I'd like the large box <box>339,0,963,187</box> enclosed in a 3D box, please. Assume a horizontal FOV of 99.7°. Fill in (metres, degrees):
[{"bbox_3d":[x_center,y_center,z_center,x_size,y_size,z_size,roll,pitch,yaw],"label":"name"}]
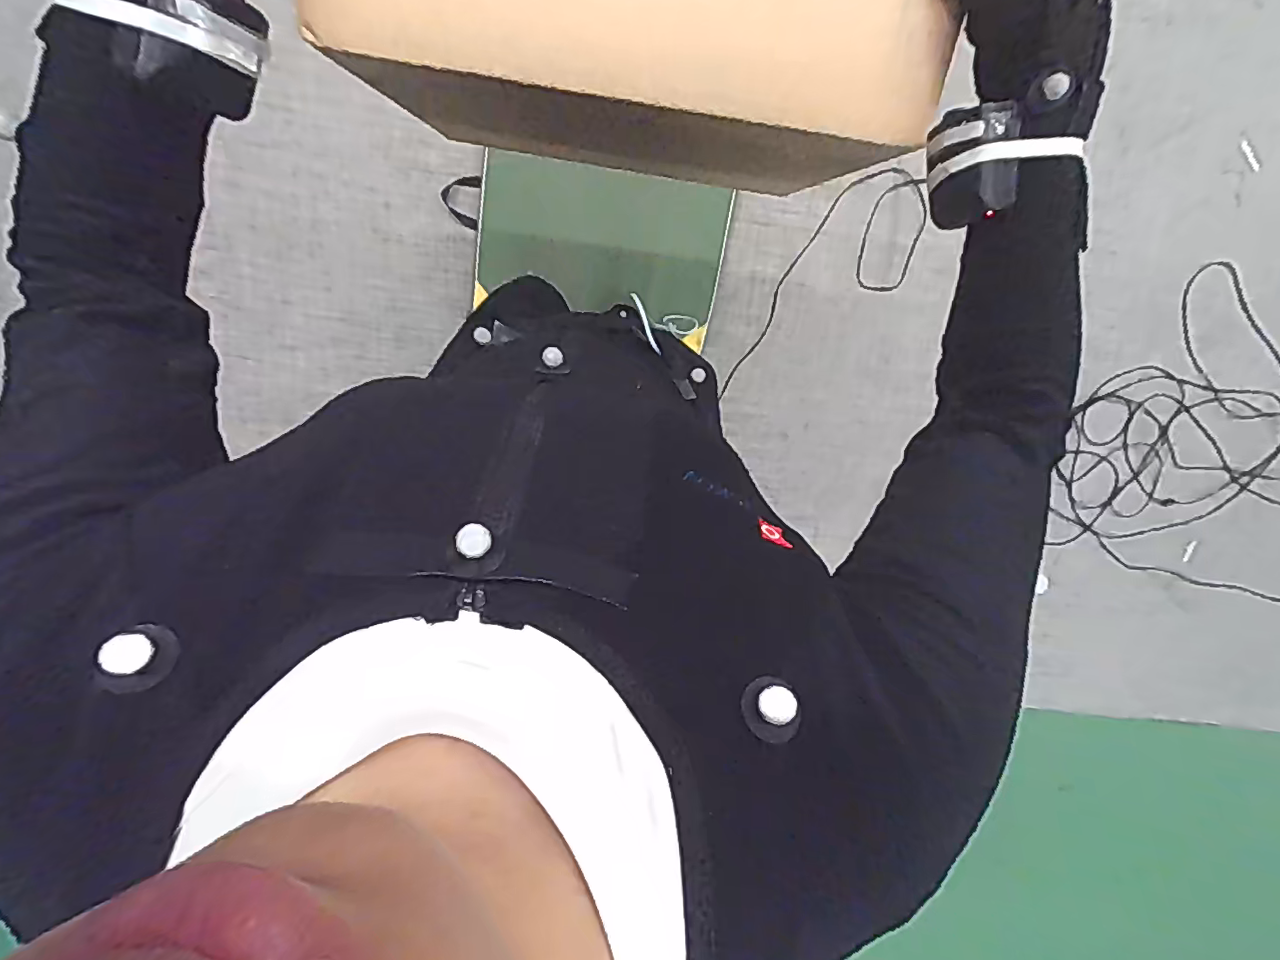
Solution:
[{"bbox_3d":[0.014,-0.453,0.443,0.408,0.320,0.320,5,113,-6],"label":"large box"}]
